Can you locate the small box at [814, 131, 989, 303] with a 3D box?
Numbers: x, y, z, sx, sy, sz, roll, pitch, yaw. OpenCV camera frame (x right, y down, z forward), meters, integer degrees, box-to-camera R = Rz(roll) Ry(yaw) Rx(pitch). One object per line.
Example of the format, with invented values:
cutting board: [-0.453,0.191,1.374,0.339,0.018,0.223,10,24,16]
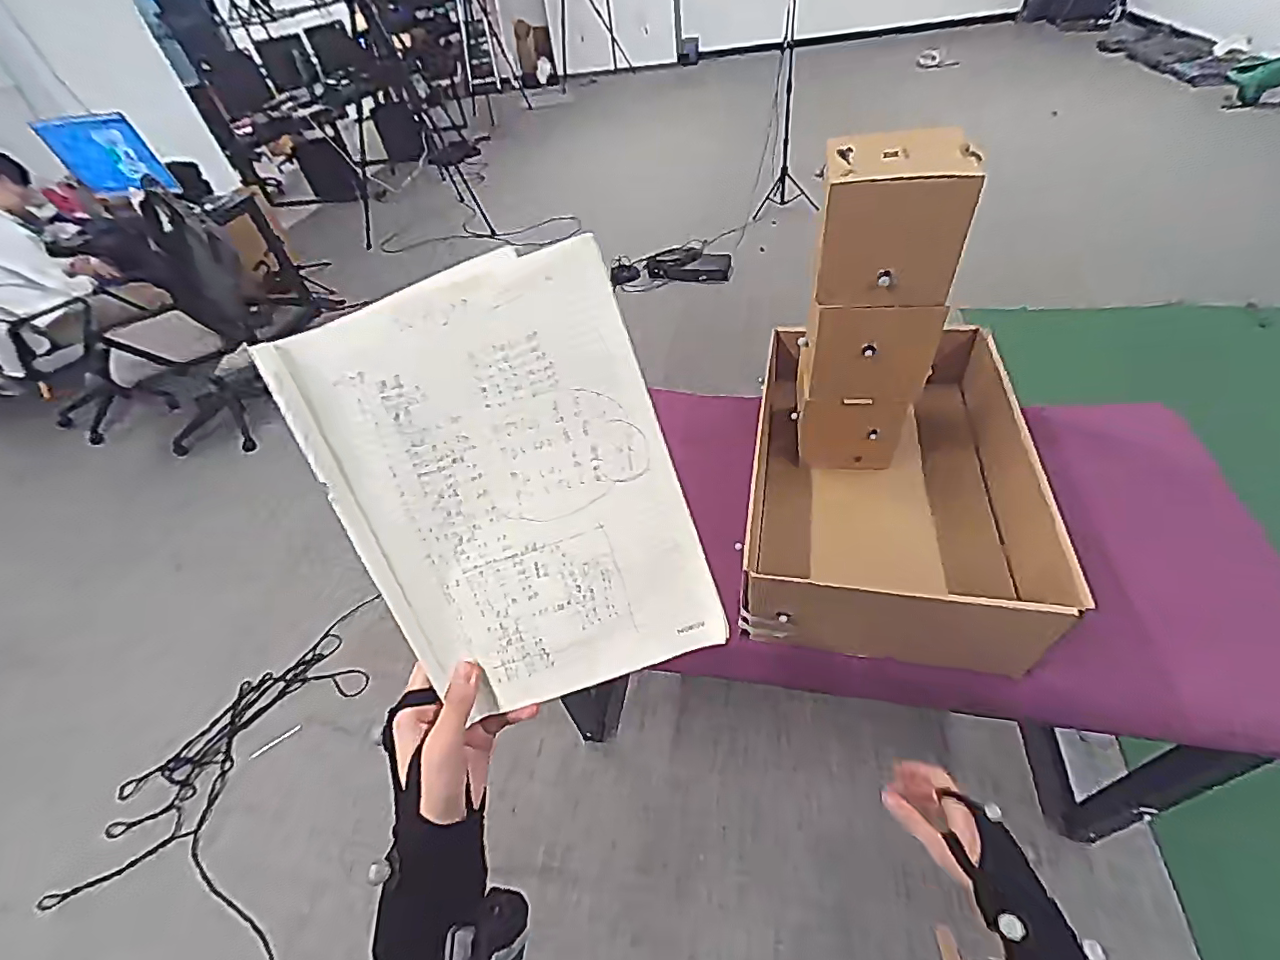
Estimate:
small box: [0.346,-0.362,0.752,0.179,0.176,0.168,5,48,13]

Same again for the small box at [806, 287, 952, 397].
small box: [0.368,-0.247,0.868,0.179,0.176,0.168,2,48,12]
